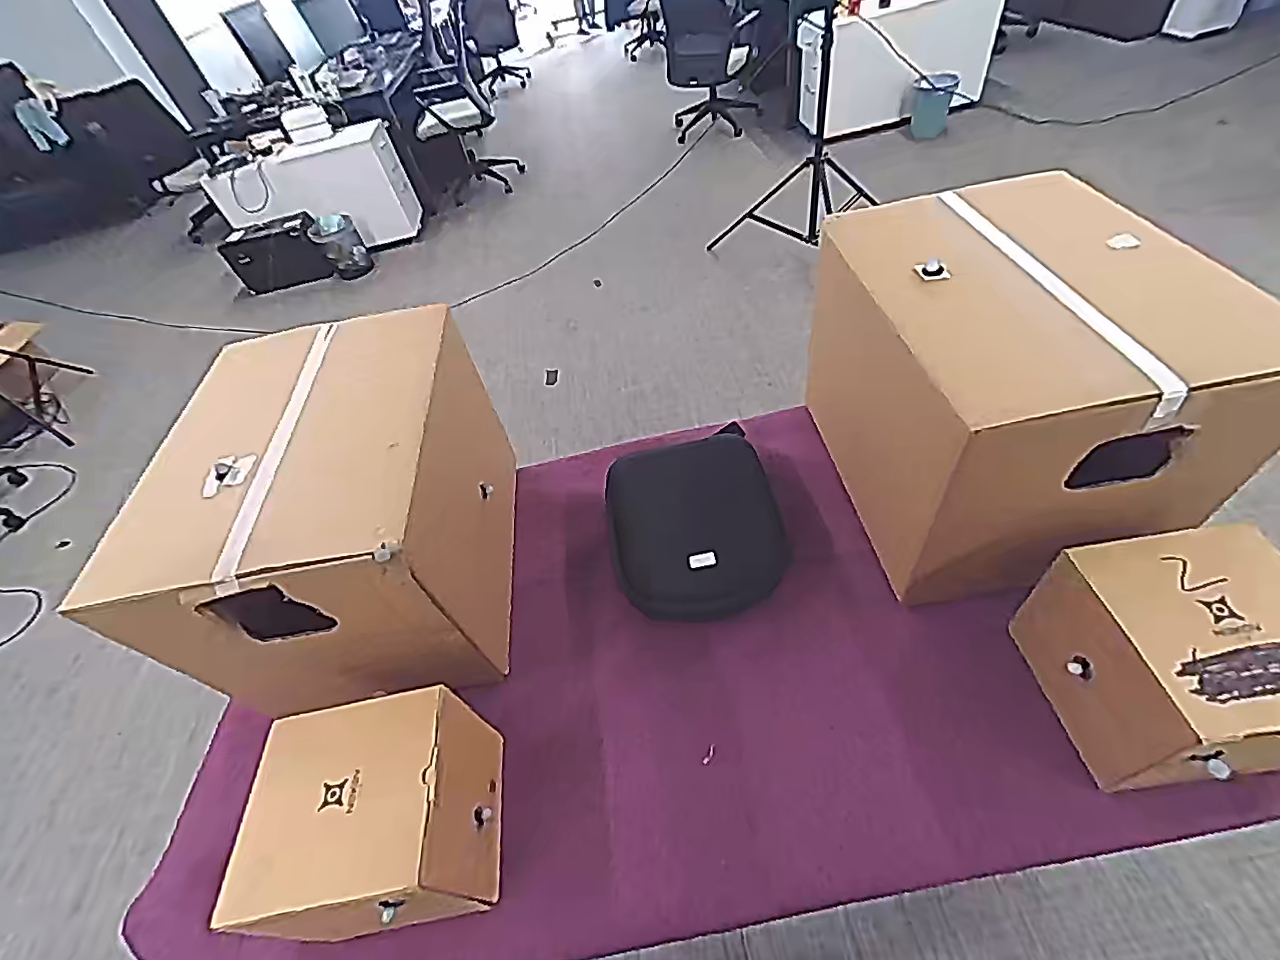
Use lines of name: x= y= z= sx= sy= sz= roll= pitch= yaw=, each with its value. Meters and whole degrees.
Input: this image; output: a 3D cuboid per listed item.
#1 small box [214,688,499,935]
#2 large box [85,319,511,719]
small box: x=-0.260 y=0.338 z=0.548 sx=0.179 sy=0.176 sz=0.168 roll=-13 pitch=47 yaw=1
large box: x=-0.366 y=0.049 z=0.727 sx=0.320 sy=0.320 sz=0.408 roll=-11 pitch=51 yaw=1
